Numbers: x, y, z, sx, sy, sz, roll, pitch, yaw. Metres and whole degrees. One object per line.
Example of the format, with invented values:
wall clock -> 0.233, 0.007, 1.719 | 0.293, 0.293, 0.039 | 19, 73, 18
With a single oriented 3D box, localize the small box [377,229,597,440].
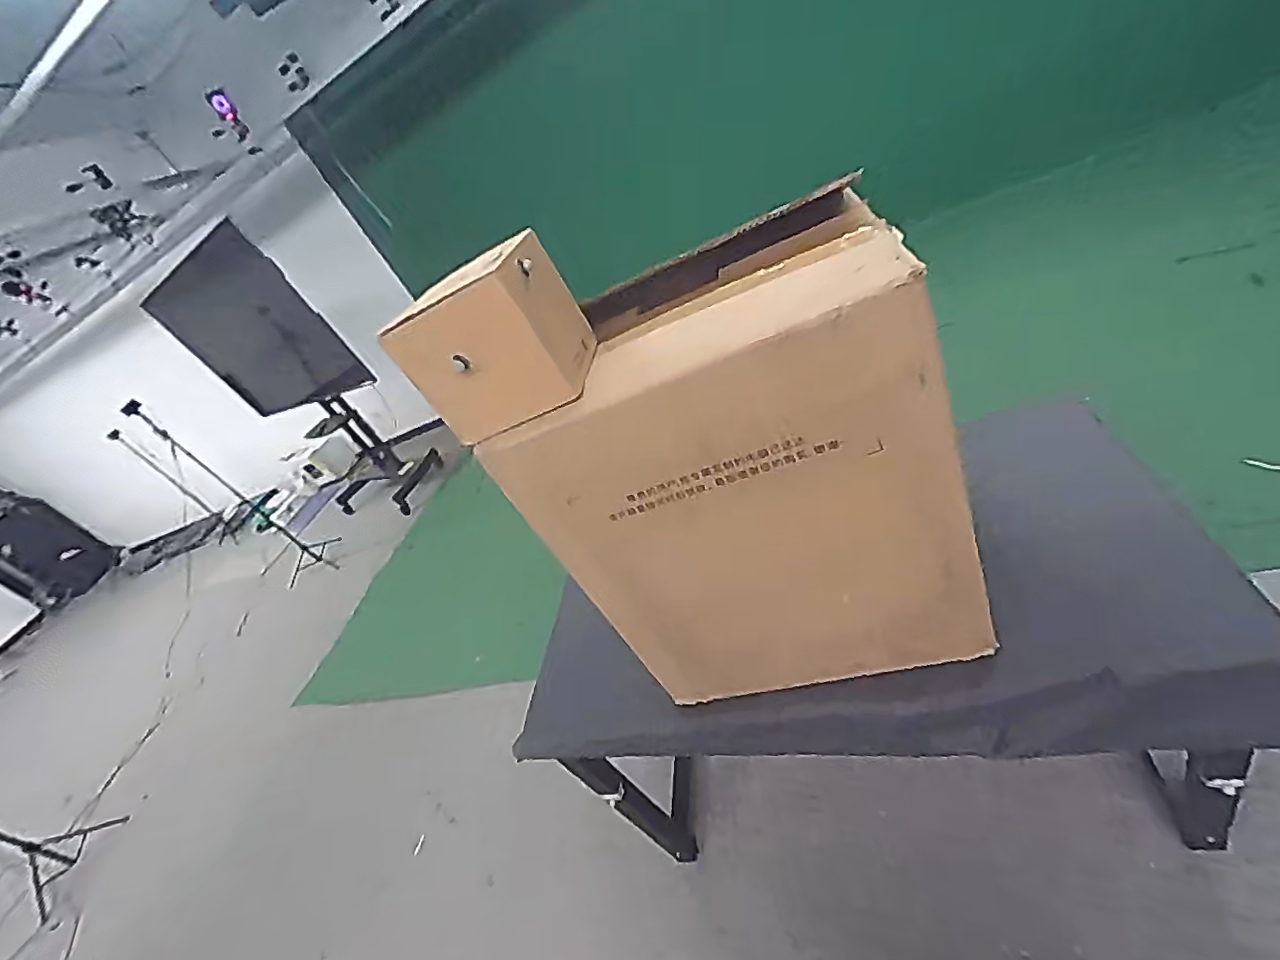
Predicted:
small box -> -0.179, -0.177, 0.684 | 0.179, 0.176, 0.168 | -20, 35, 21
